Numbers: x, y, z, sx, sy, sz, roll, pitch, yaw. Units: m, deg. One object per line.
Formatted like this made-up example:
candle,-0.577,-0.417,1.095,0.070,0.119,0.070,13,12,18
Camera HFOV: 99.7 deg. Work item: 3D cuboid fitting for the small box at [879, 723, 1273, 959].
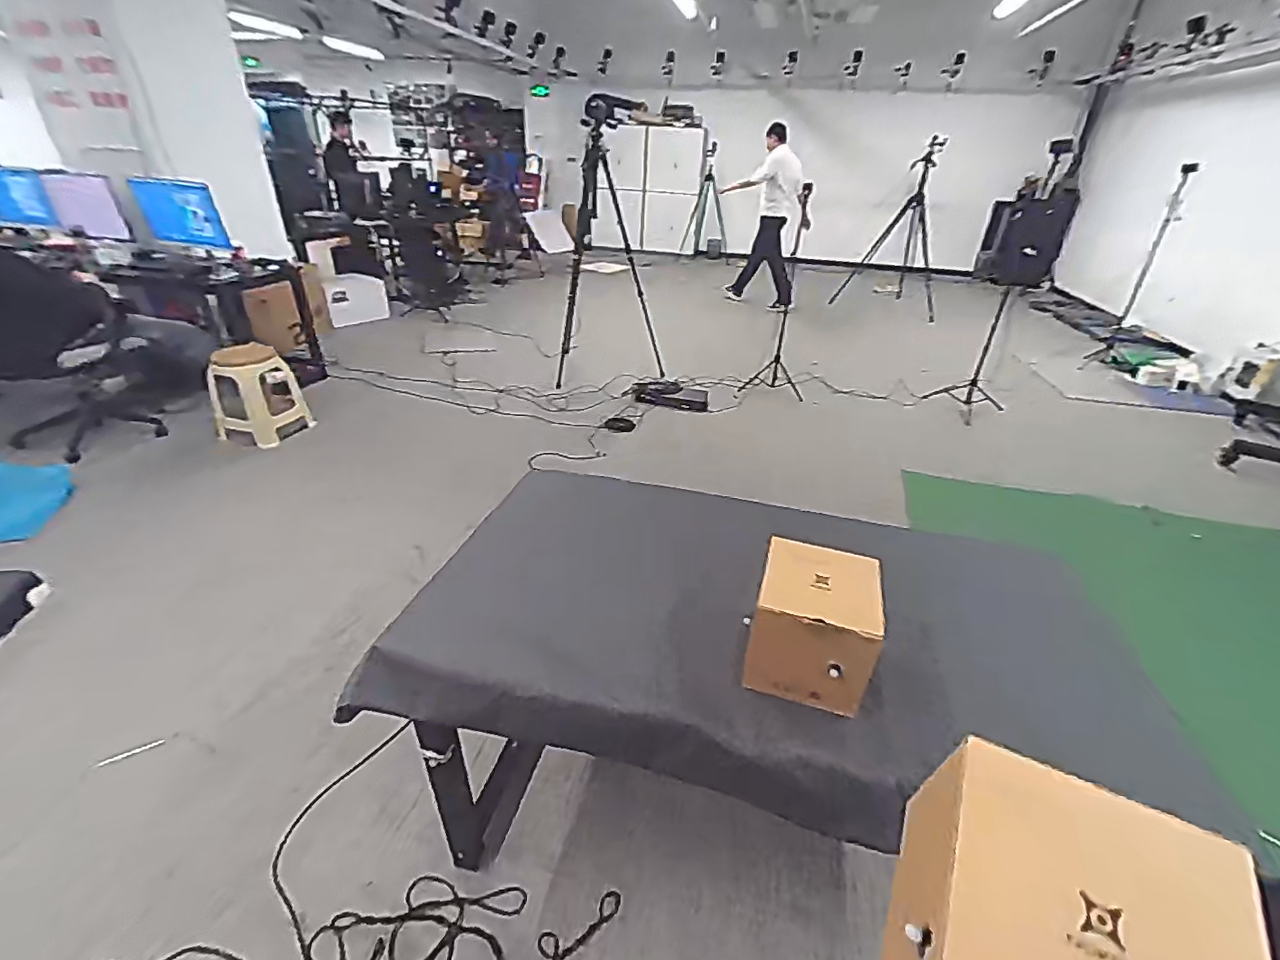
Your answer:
small box,0.285,0.316,0.385,0.168,0.176,0.179,17,51,22

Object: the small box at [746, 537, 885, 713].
small box,0.262,0.218,0.823,0.168,0.176,0.179,12,31,14
